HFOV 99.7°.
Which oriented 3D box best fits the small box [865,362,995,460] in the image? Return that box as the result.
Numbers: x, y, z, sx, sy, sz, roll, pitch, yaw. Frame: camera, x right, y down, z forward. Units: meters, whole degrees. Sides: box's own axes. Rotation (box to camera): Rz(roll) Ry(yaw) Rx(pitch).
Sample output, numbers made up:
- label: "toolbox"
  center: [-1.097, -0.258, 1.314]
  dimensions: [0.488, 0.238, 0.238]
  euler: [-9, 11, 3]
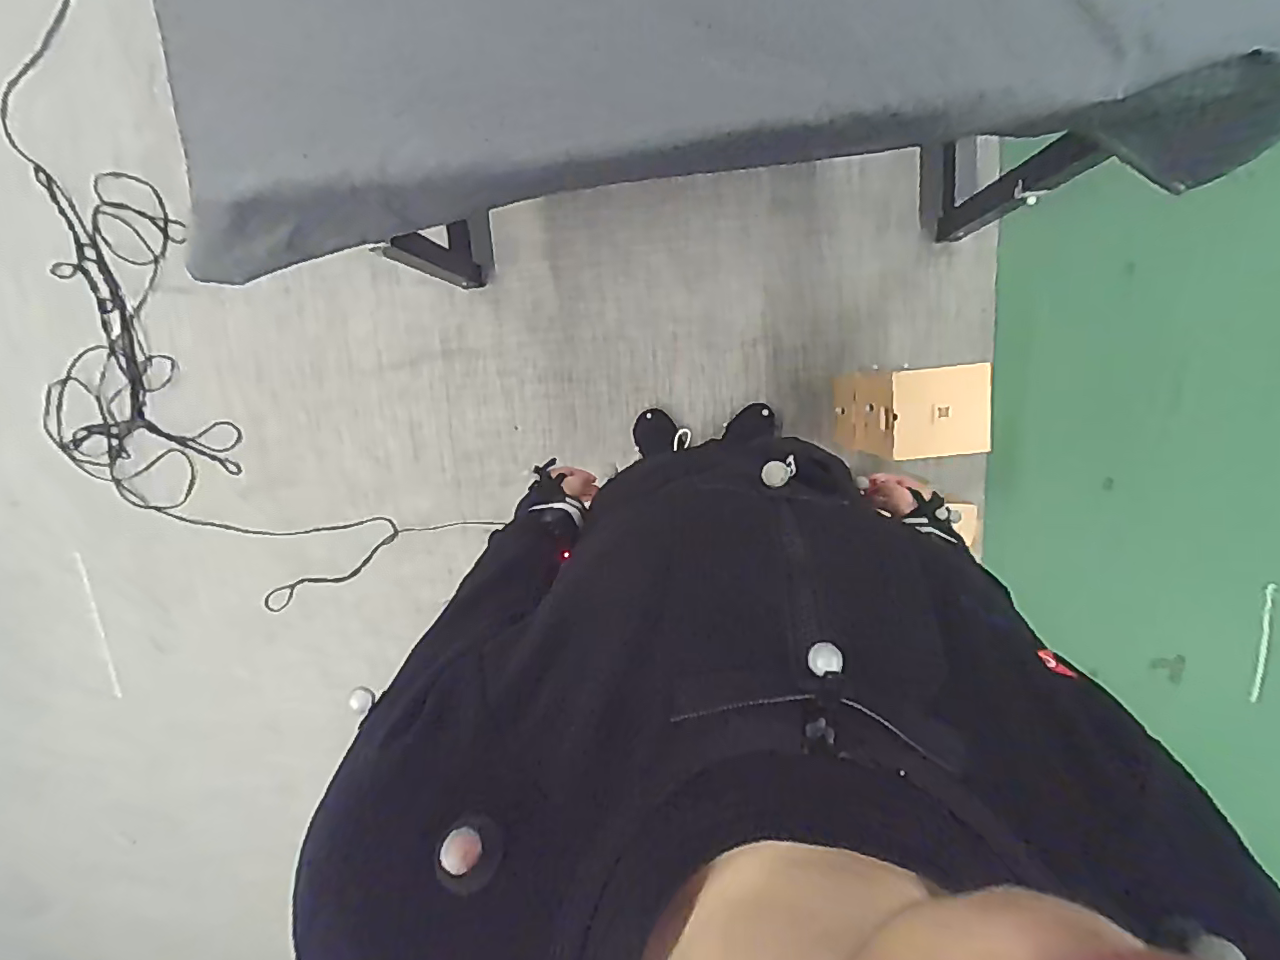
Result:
- label: "small box"
  center: [0.559, -0.139, 1.060]
  dimensions: [0.179, 0.176, 0.168]
  euler: [-6, 99, 6]

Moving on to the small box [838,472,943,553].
- label: "small box"
  center: [0.577, 0.073, 1.264]
  dimensions: [0.179, 0.176, 0.168]
  euler: [1, 99, 7]

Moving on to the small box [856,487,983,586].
- label: "small box"
  center: [0.559, 0.108, 1.103]
  dimensions: [0.179, 0.176, 0.168]
  euler: [1, 99, 6]
